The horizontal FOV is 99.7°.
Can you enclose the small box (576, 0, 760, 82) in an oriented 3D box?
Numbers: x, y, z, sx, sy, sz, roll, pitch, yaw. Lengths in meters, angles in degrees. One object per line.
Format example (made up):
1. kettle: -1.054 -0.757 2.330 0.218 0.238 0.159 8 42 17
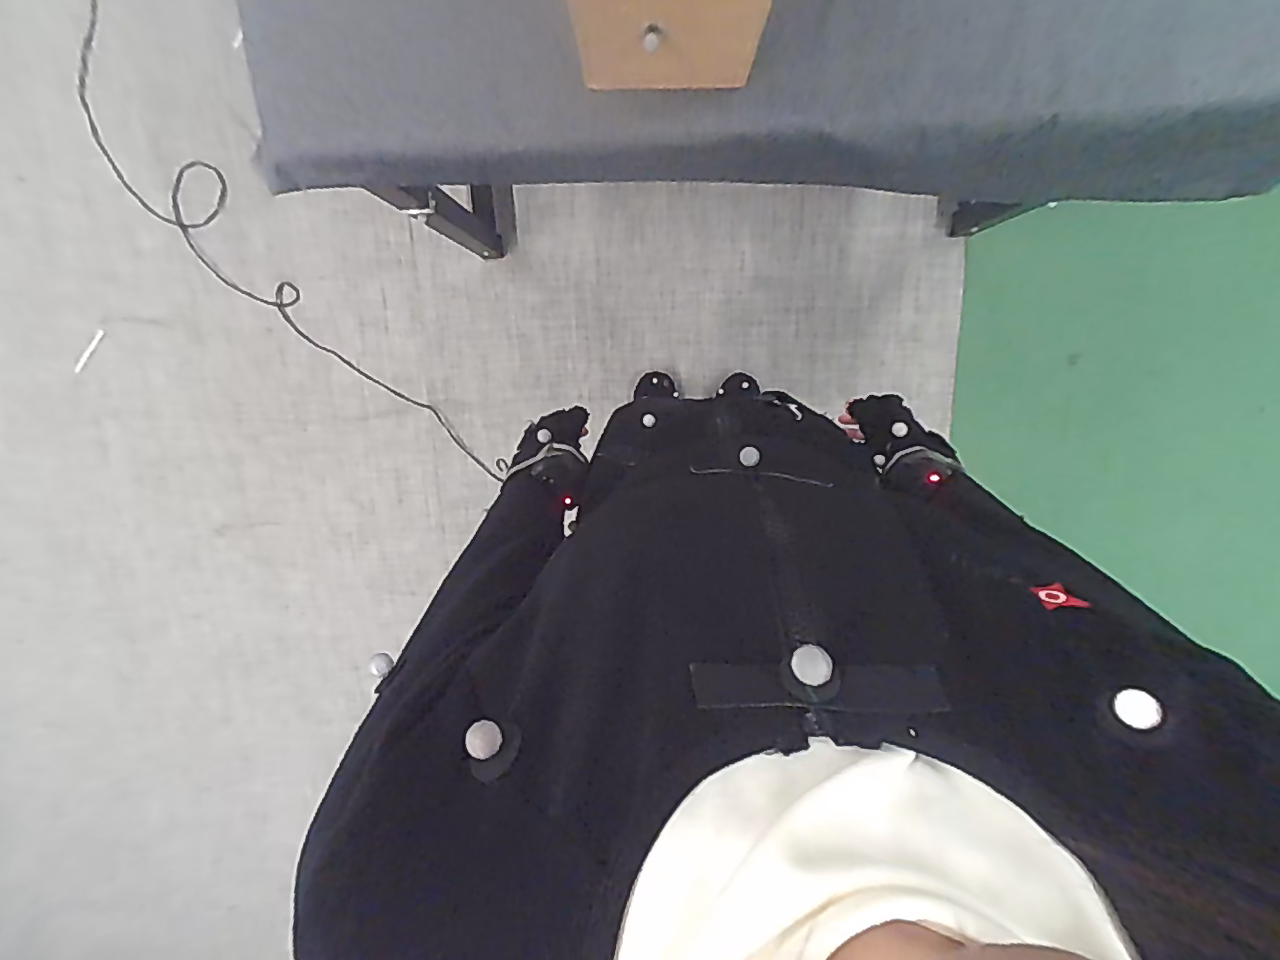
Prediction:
1. small box: 0.026 -0.507 0.508 0.179 0.176 0.168 1 101 2
